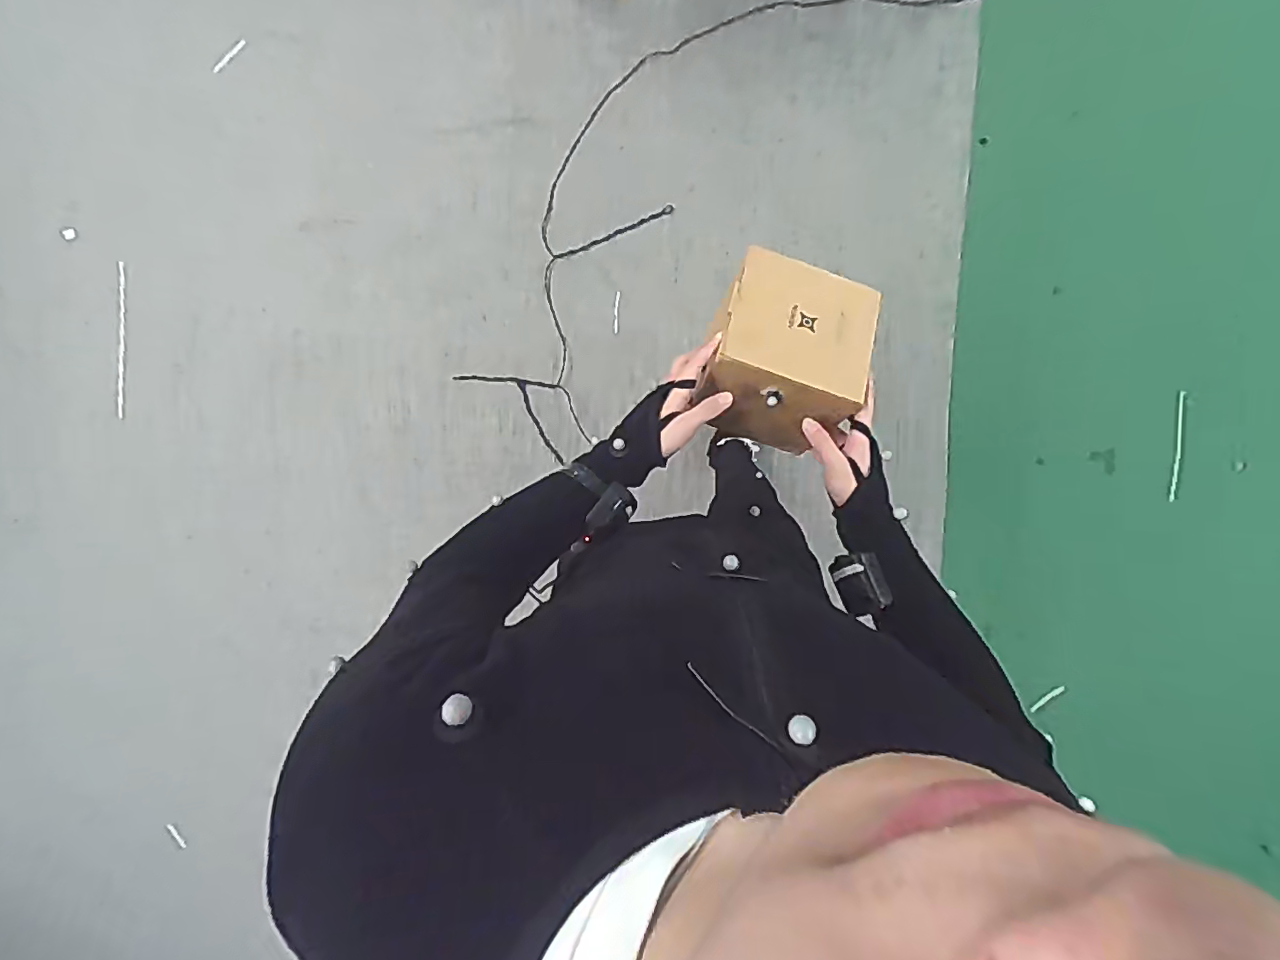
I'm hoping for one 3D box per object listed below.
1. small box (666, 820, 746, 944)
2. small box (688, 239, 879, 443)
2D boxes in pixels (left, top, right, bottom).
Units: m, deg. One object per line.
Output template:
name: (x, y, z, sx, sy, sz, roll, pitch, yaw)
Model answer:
small box: (0.159, 1.006, 1.370, 0.168, 0.176, 0.179, 11, 90, 2)
small box: (0.176, -0.167, 0.701, 0.179, 0.176, 0.168, 19, 69, -2)
